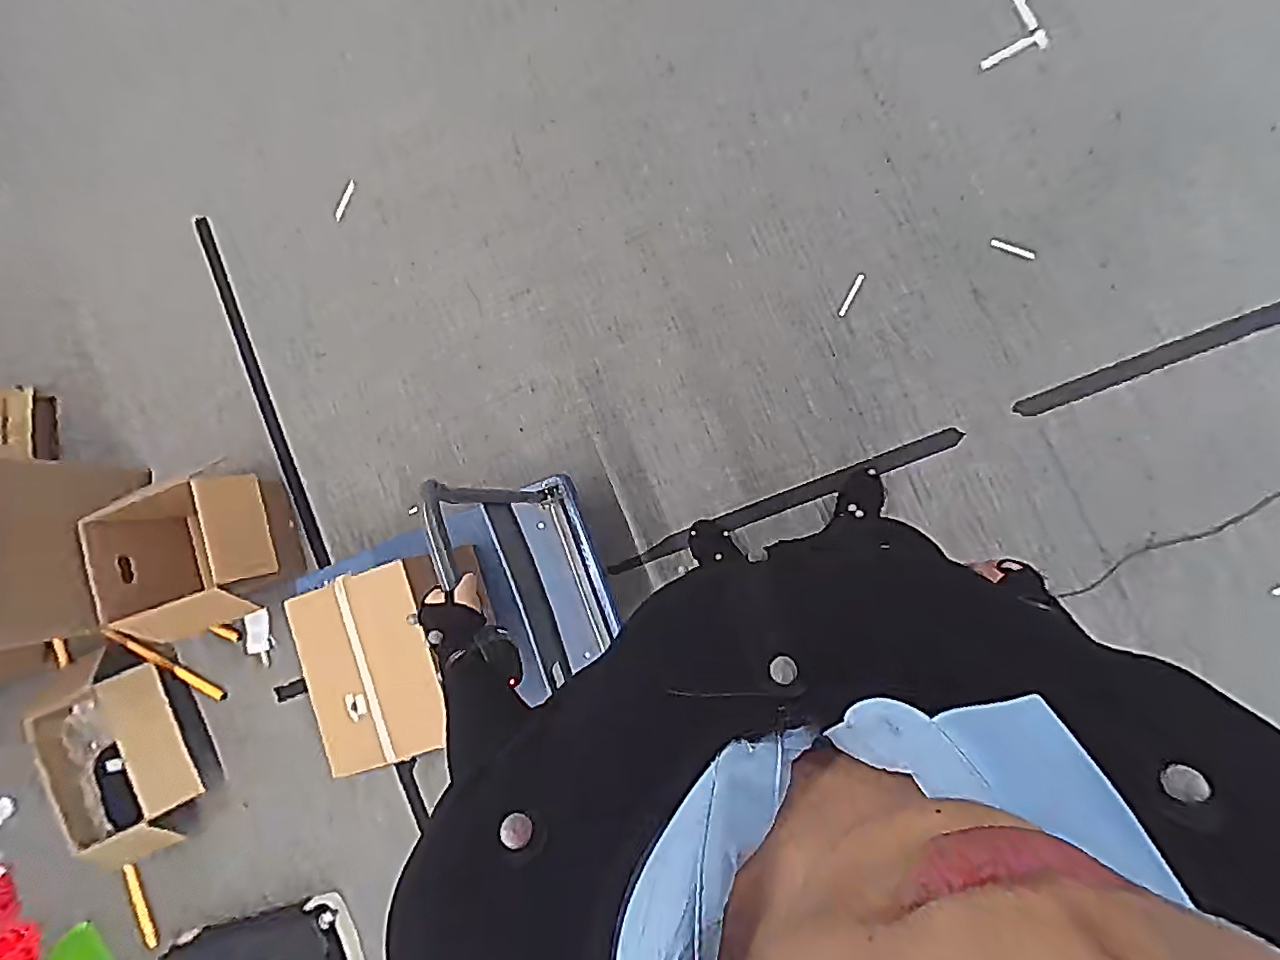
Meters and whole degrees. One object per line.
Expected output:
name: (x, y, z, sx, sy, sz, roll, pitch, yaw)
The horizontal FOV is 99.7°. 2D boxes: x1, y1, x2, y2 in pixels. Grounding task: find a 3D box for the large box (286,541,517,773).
large box: (-0.546, 0.396, 1.296, 0.320, 0.320, 0.408, -20, 87, 11)
